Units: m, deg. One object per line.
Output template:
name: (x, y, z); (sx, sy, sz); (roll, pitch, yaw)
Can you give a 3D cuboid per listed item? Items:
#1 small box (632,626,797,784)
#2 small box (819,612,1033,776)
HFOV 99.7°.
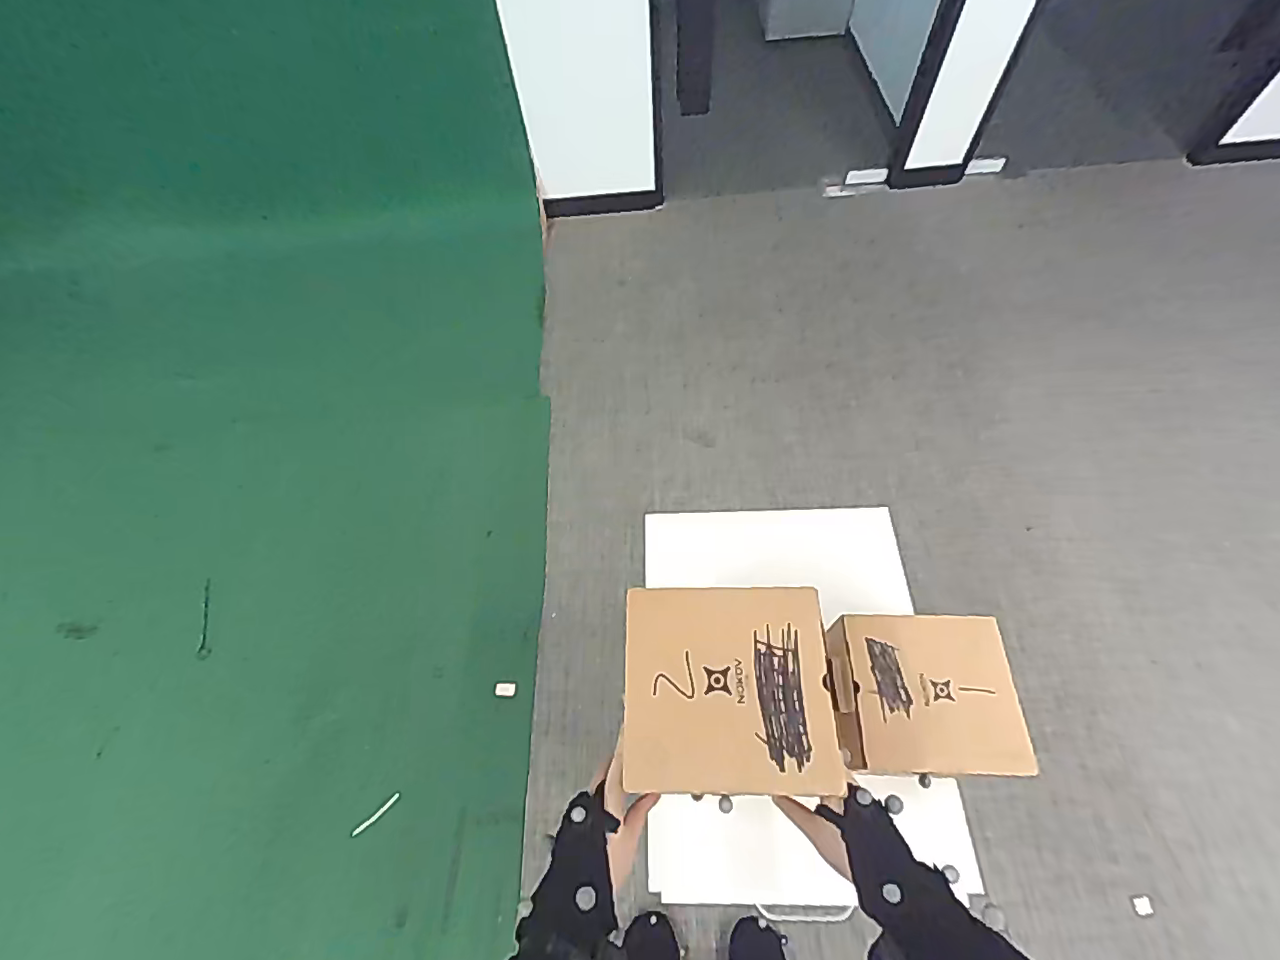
small box: (0.084, 0.285, 0.676); (0.179, 0.176, 0.168); (-1, 62, 3)
small box: (0.329, 0.269, 0.670); (0.179, 0.176, 0.168); (0, 61, 4)
